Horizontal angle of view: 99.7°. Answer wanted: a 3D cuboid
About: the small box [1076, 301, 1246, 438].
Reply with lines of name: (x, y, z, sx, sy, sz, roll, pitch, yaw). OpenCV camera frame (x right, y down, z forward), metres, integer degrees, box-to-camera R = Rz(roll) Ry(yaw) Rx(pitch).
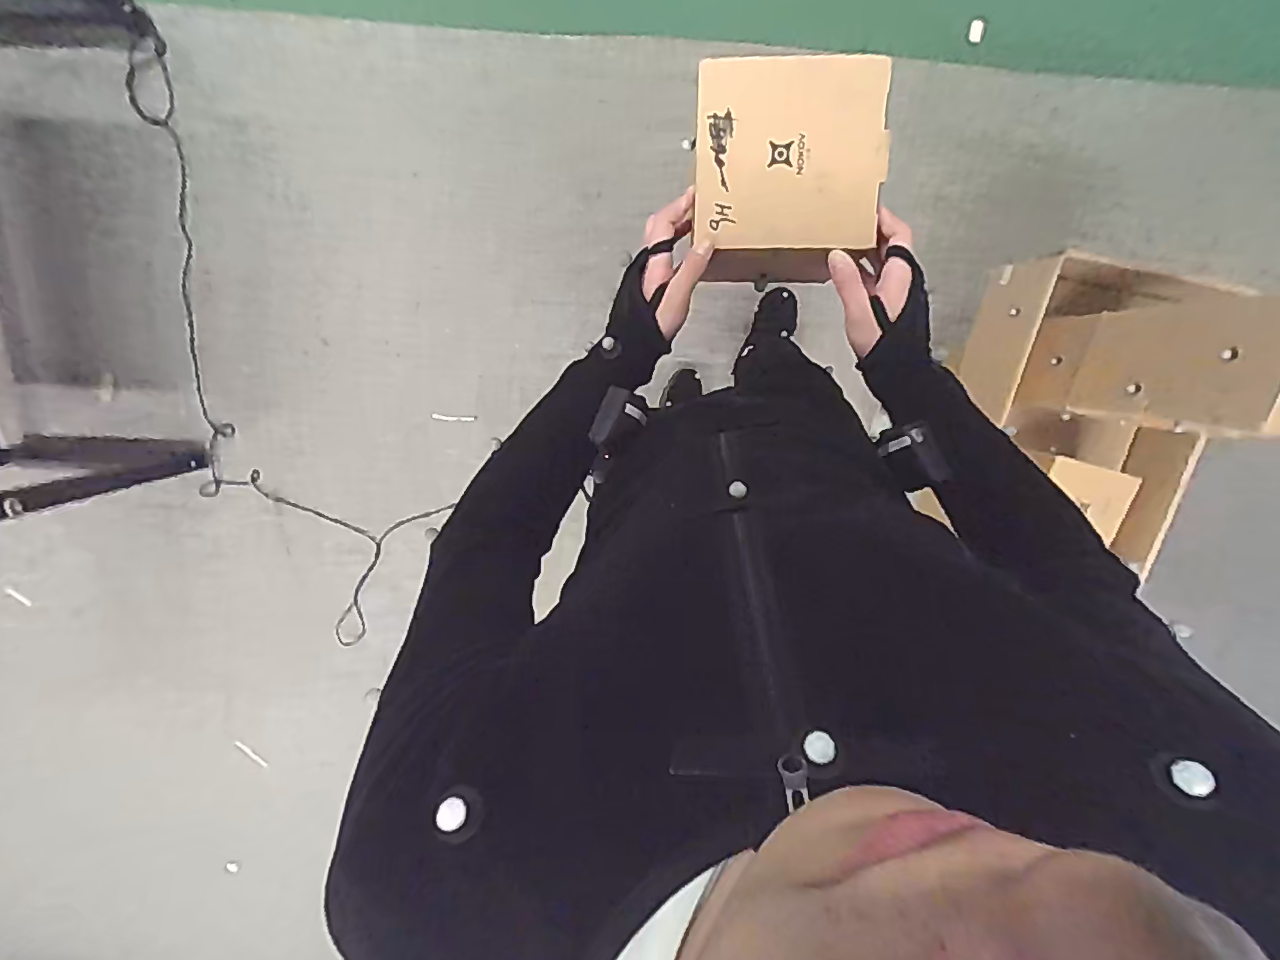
small box: (0.880, -0.183, 0.892, 0.168, 0.176, 0.179, 12, 105, -1)

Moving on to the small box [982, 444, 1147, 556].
small box: (0.853, 0.032, 1.110, 0.179, 0.176, 0.168, 16, 104, -1)

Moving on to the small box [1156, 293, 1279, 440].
small box: (0.870, -0.147, 0.732, 0.168, 0.176, 0.179, 11, 104, 0)

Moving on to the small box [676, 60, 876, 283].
small box: (0.131, -0.317, 0.588, 0.179, 0.176, 0.168, 1, 99, 3)
